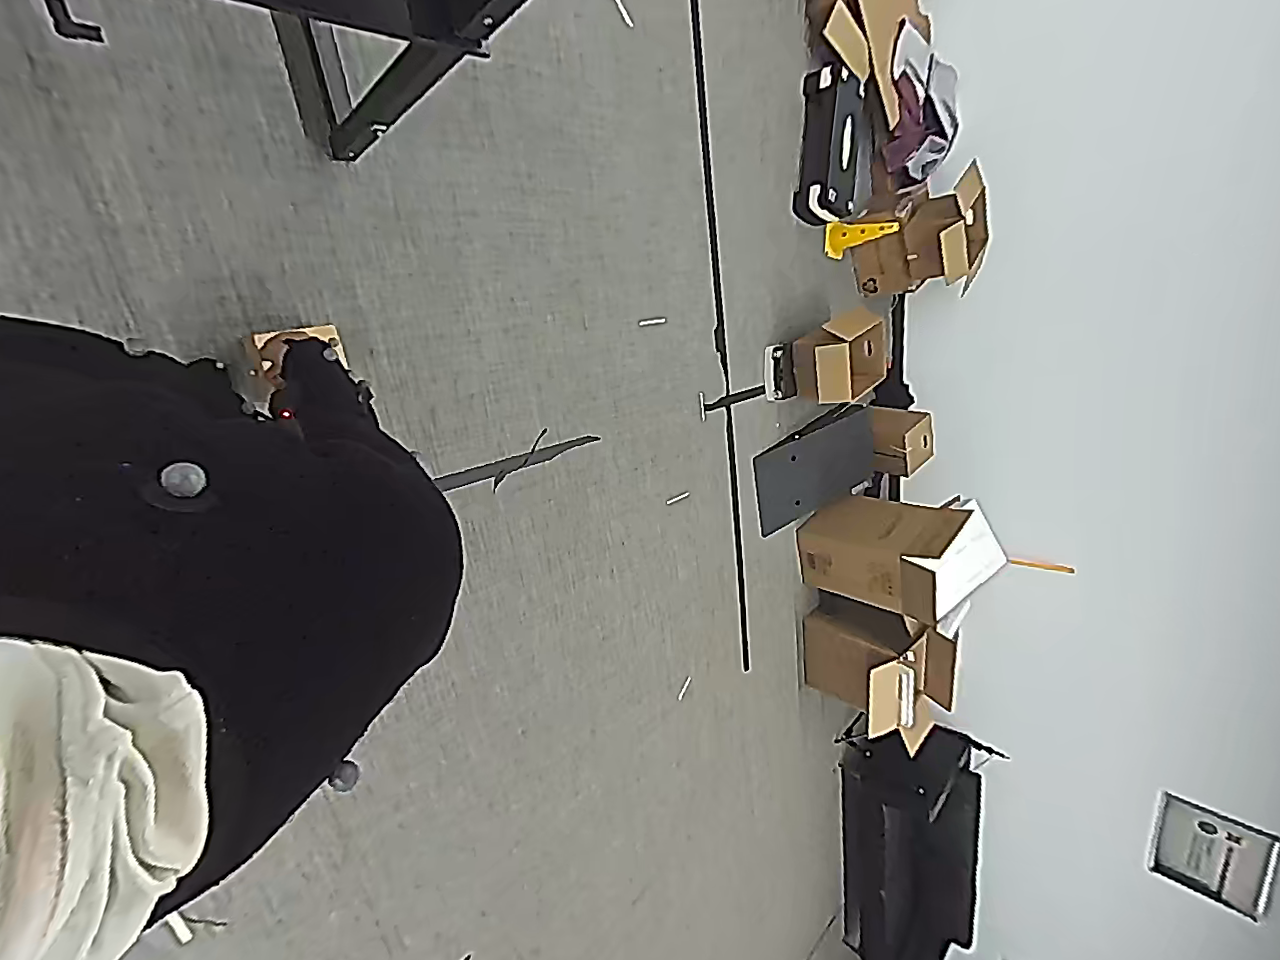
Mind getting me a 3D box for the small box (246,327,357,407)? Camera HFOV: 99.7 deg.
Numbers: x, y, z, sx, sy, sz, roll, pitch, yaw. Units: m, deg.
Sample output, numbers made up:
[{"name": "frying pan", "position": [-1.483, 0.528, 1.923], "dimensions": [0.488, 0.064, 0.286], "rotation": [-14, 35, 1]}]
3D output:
[{"name": "small box", "position": [-0.841, -0.285, 1.343], "dimensions": [0.179, 0.176, 0.168], "rotation": [-24, 114, -38]}]
